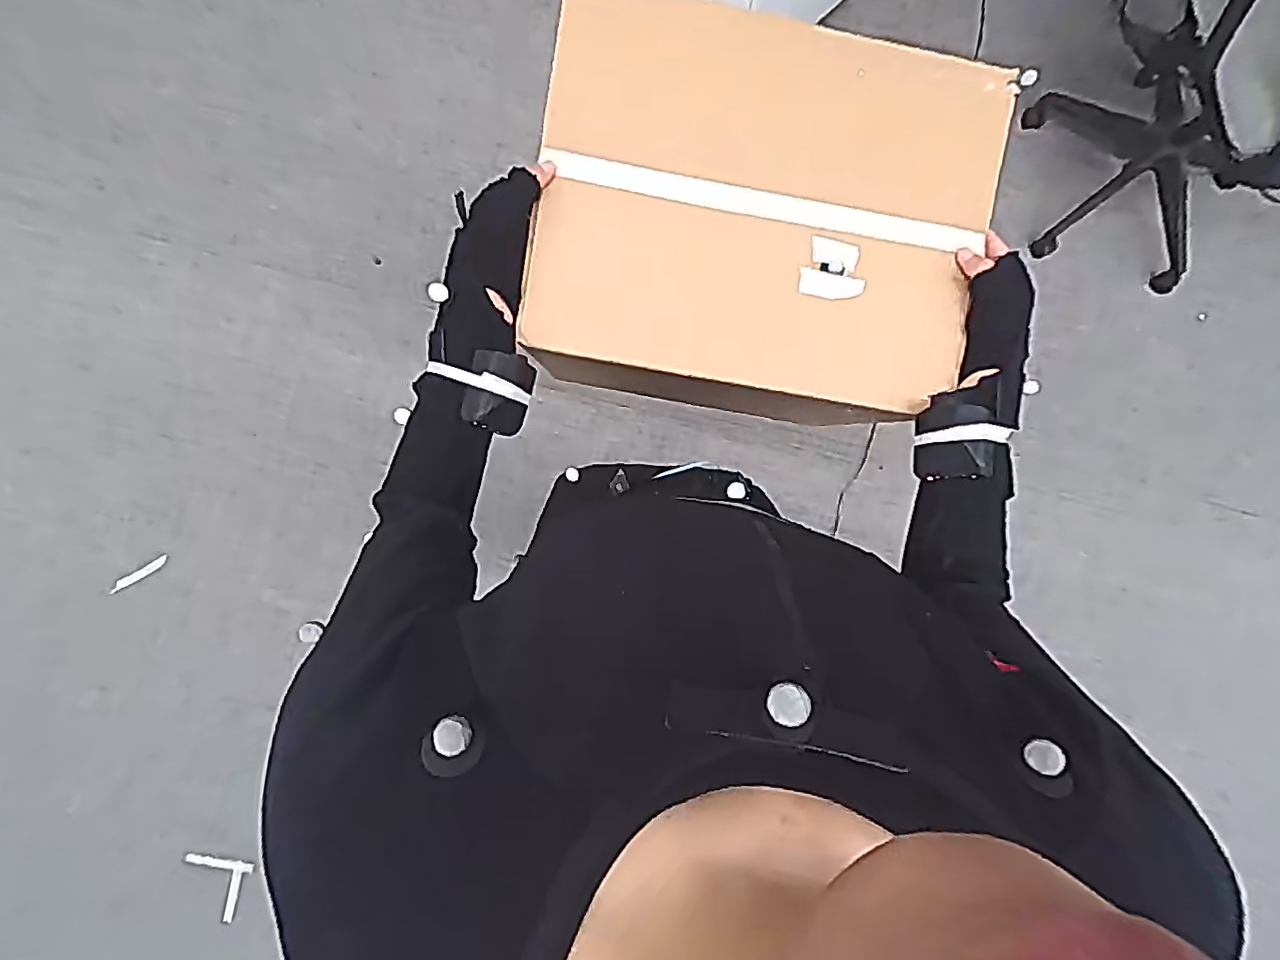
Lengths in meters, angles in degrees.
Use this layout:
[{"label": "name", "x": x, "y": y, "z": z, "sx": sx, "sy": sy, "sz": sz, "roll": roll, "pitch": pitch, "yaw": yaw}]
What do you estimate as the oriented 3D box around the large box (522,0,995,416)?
[{"label": "large box", "x": 0.098, "y": -0.261, "z": 0.640, "sx": 0.408, "sy": 0.320, "sz": 0.320, "roll": 10, "pitch": 96, "yaw": -5}]
